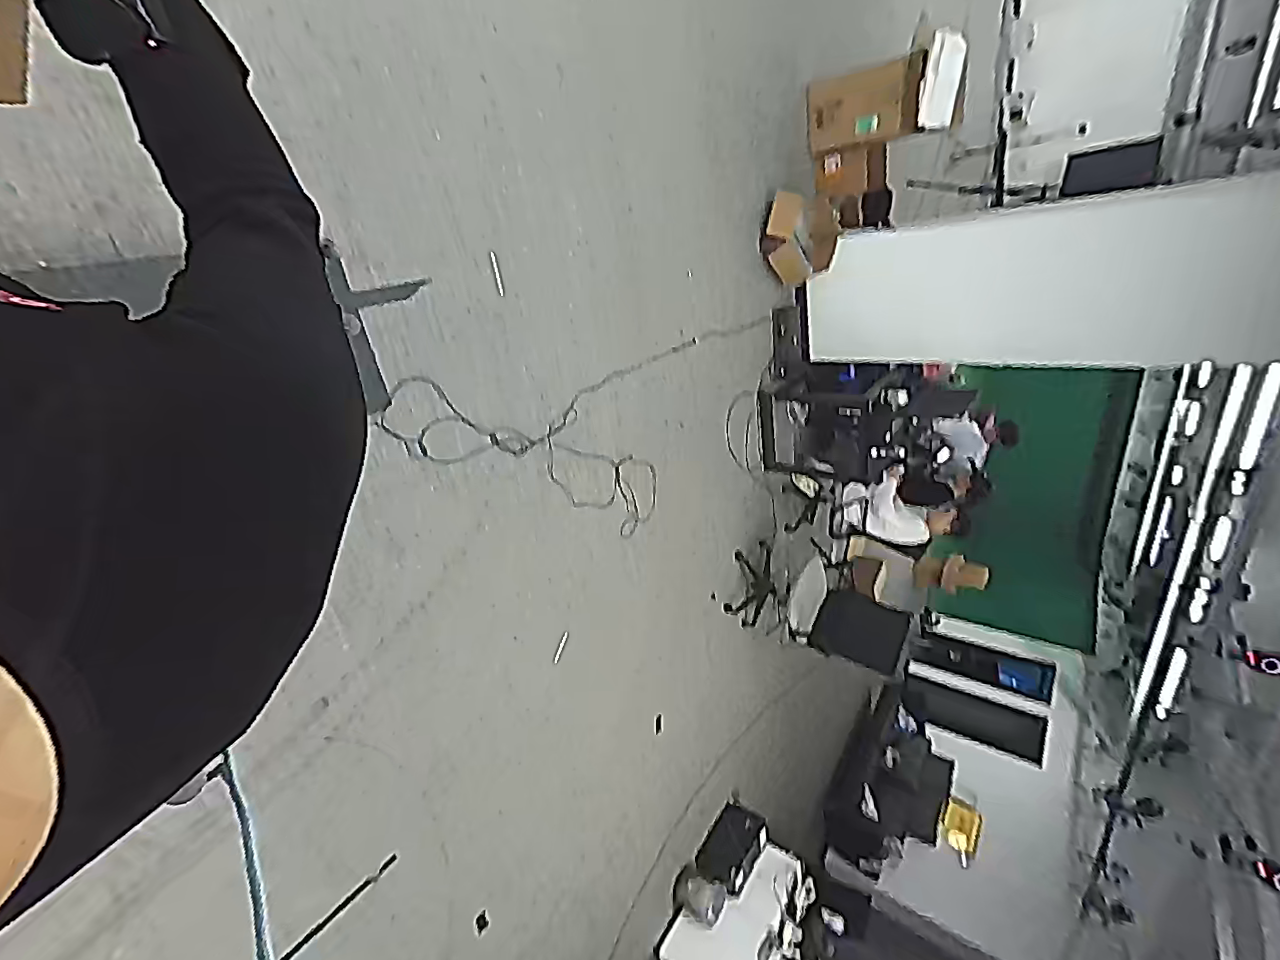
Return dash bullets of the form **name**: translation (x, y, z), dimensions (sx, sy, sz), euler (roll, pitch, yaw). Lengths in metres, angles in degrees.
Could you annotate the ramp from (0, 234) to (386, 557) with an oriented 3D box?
- **ramp**: translation (-1.064, -0.246, 1.210), dimensions (0.991, 0.206, 0.509), euler (-37, 124, -41)
